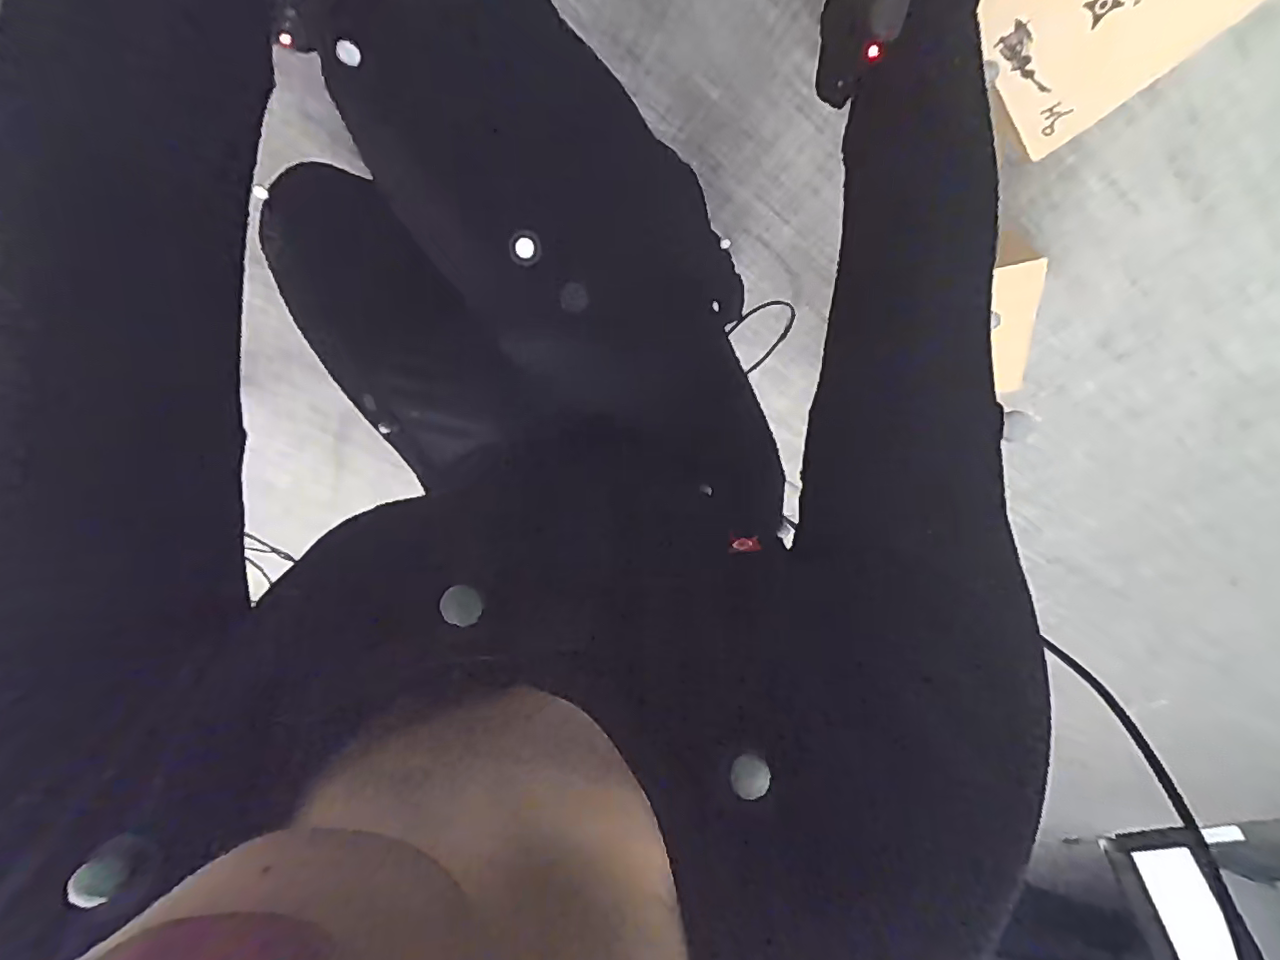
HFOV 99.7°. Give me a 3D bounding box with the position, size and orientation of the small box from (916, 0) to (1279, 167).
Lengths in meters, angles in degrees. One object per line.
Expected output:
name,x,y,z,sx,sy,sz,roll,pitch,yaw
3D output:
small box,0.379,-0.429,0.473,0.168,0.176,0.179,37,129,-29
